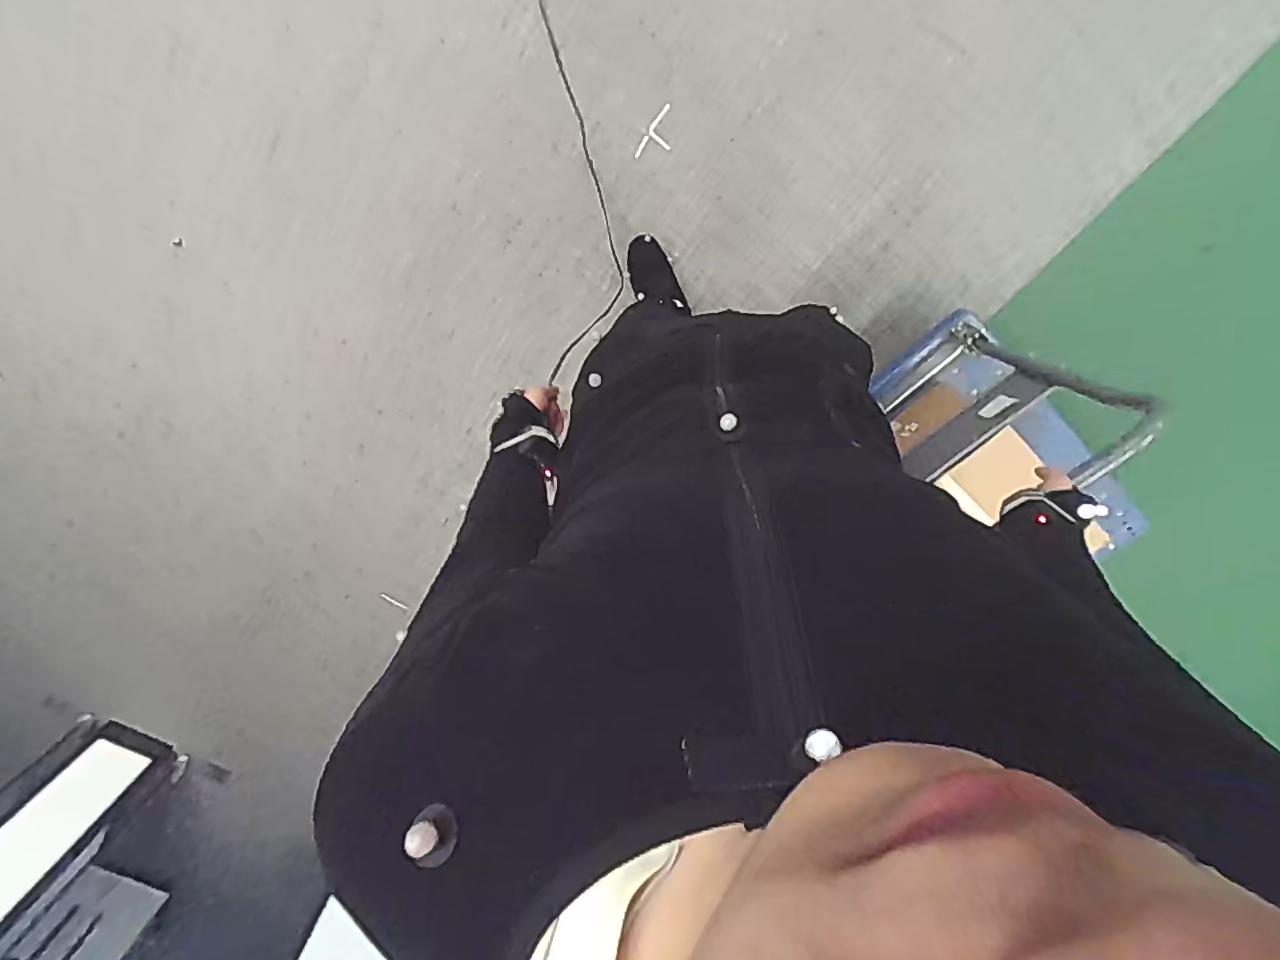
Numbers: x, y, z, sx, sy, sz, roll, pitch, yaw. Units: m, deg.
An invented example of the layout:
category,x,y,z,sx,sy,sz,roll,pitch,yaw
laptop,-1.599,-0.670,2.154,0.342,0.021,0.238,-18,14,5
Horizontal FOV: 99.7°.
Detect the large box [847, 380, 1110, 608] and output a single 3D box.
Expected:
category,x,y,z,sx,sy,sz,roll,pitch,yaw
large box,0.794,0.025,1.326,0.408,0.320,0.320,39,113,-15
